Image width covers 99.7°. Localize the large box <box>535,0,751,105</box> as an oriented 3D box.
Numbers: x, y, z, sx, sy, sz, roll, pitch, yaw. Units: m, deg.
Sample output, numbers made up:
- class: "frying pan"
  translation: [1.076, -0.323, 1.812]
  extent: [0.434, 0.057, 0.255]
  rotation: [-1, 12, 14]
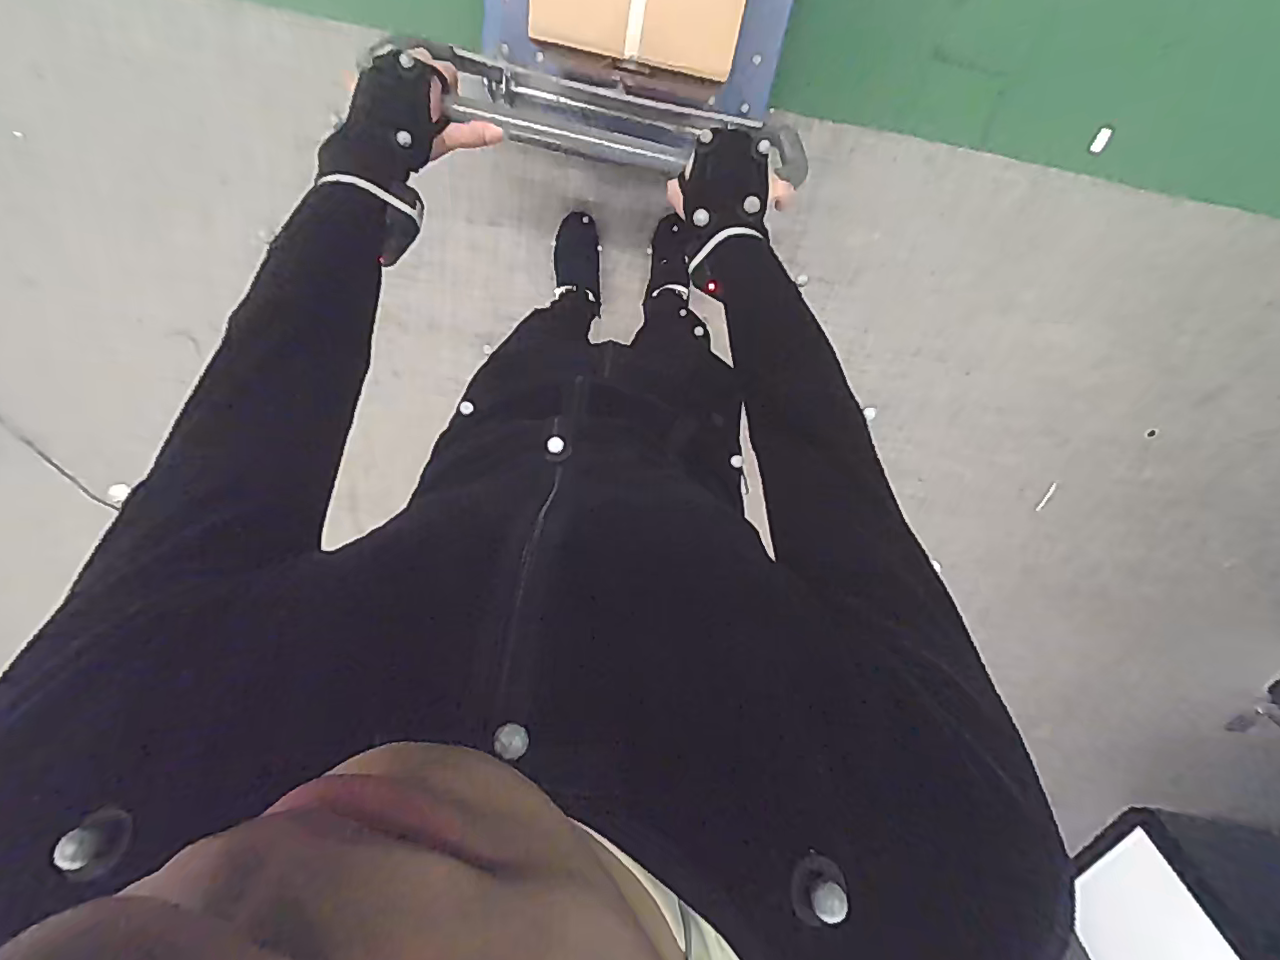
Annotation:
- class: "large box"
  translation: [0.031, -0.879, 0.863]
  extent: [0.320, 0.320, 0.408]
  rotation: [10, 119, -5]
